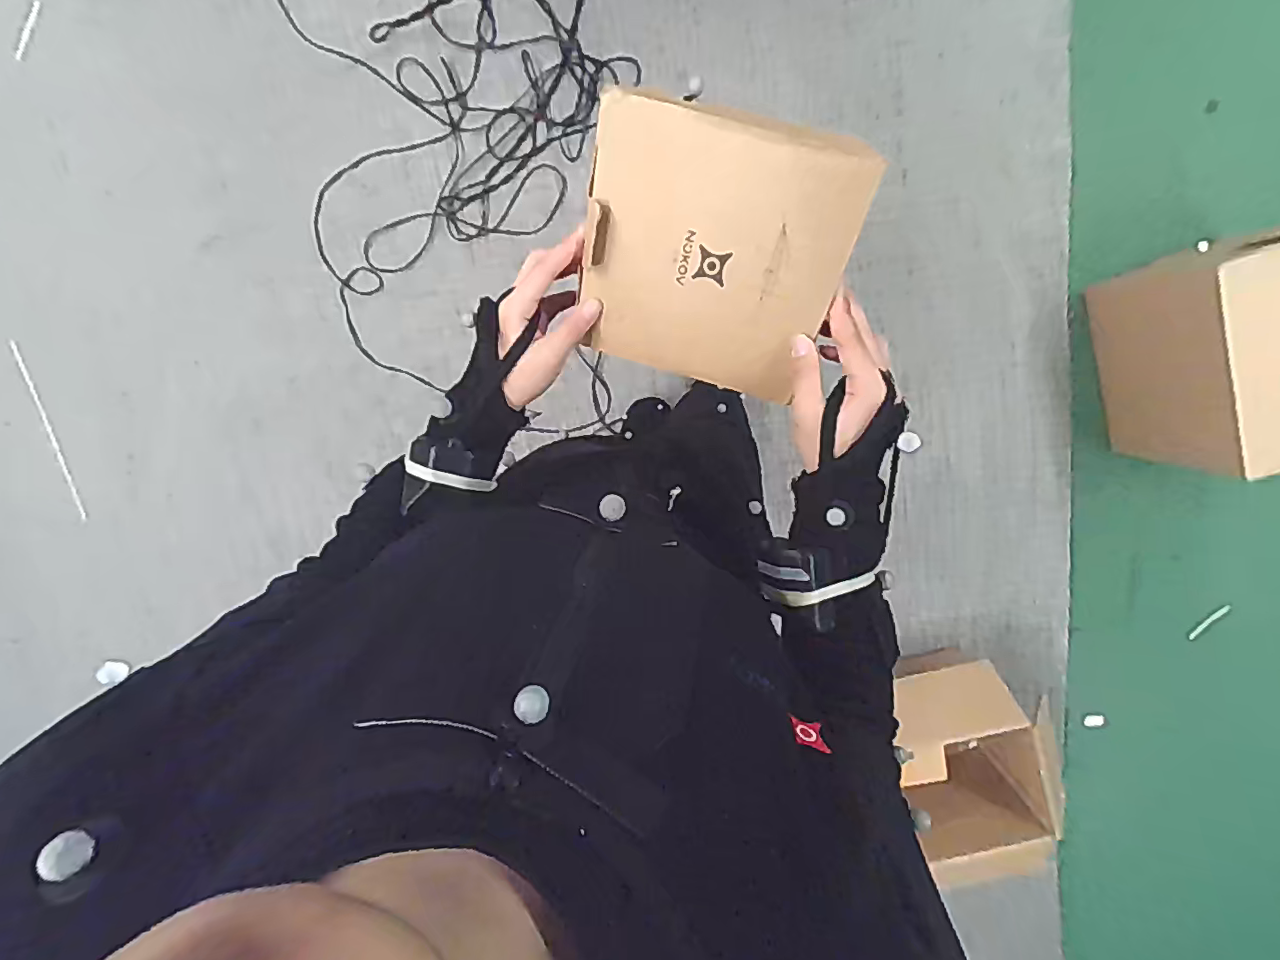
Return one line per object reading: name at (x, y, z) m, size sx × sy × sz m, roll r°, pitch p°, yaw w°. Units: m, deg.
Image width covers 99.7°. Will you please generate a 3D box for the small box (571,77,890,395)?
small box at (0.062, -0.192, 0.420) m, size 0.179 × 0.176 × 0.168 m, roll 15°, pitch 128°, yaw 4°
